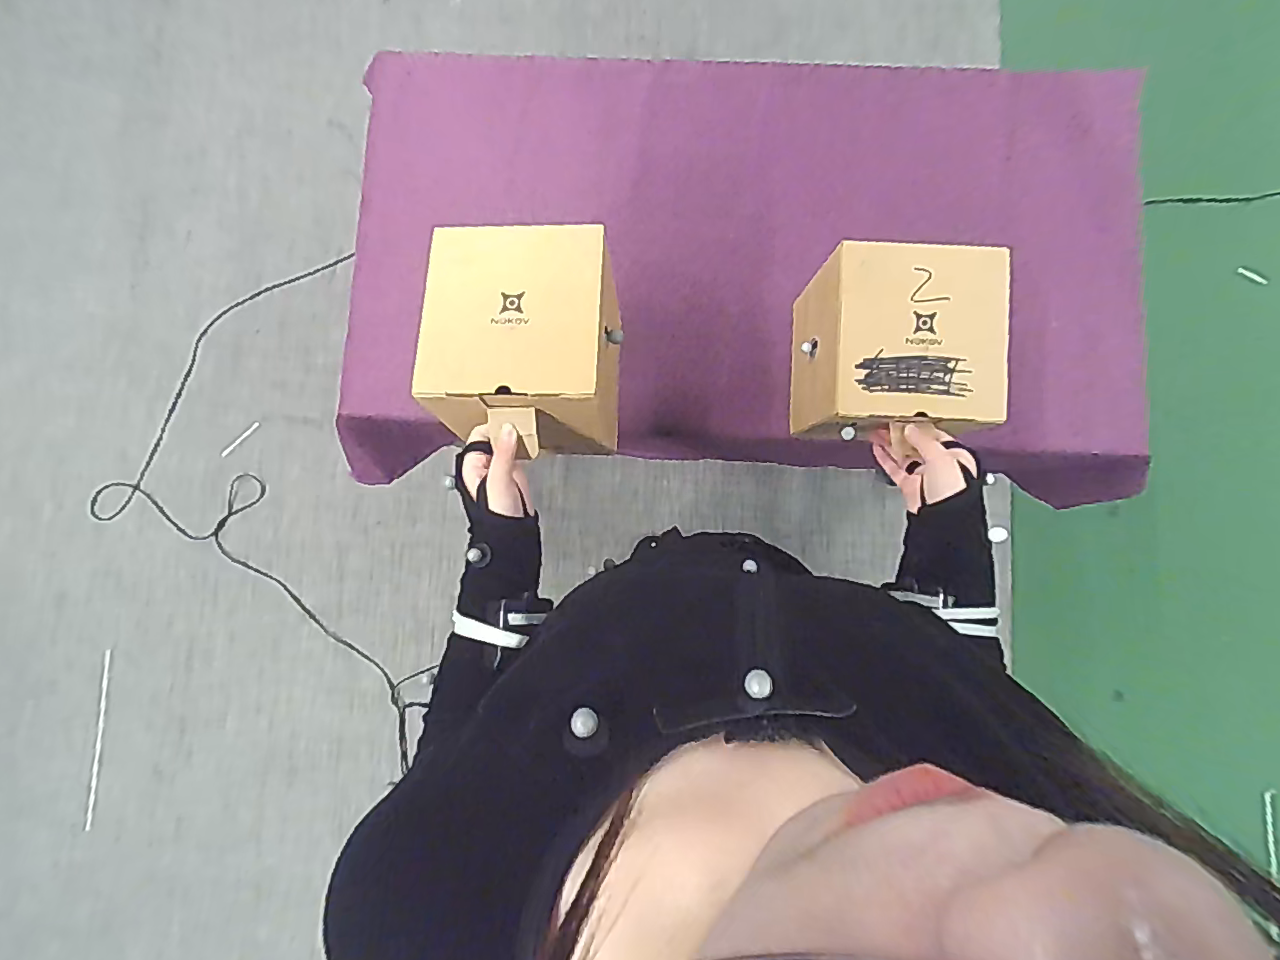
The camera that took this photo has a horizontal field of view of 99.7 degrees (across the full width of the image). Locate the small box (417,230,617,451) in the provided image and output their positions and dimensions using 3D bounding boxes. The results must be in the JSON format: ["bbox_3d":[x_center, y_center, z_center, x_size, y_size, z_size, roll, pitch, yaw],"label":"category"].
[{"bbox_3d":[-0.115,-0.140,0.584,0.168,0.176,0.179,1,77,4],"label":"small box"}]
